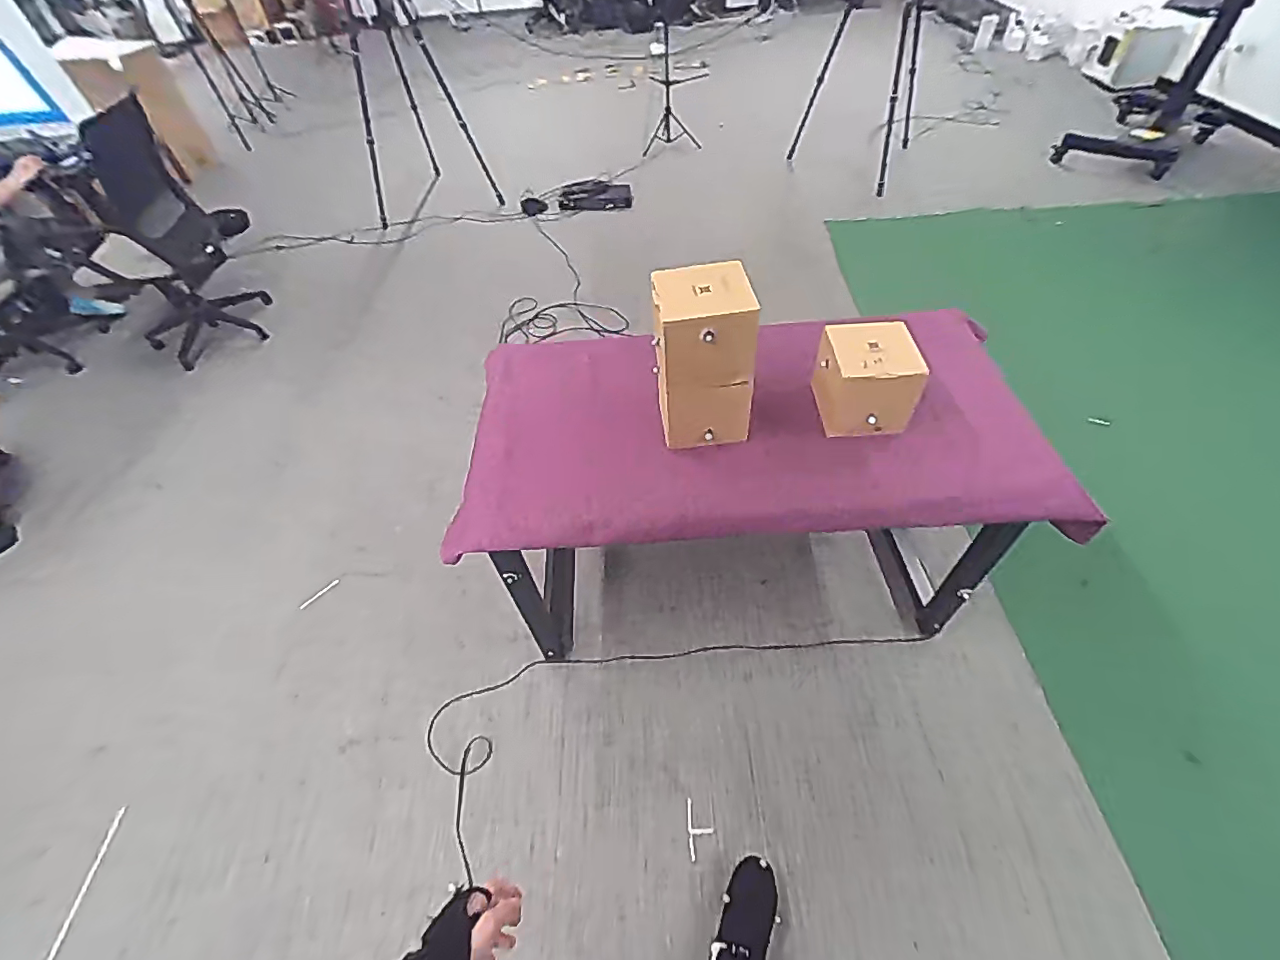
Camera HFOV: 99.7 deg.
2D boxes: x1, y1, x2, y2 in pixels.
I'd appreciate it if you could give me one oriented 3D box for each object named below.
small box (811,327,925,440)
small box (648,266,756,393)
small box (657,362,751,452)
[{"bbox_3d":[0.474,-0.206,1.158,0.168,0.176,0.179,-2,50,4],"label":"small box"},{"bbox_3d":[0.115,-0.284,1.042,0.179,0.176,0.168,-7,51,0],"label":"small box"},{"bbox_3d":[0.129,-0.180,1.168,0.179,0.176,0.168,-6,50,-1],"label":"small box"}]
